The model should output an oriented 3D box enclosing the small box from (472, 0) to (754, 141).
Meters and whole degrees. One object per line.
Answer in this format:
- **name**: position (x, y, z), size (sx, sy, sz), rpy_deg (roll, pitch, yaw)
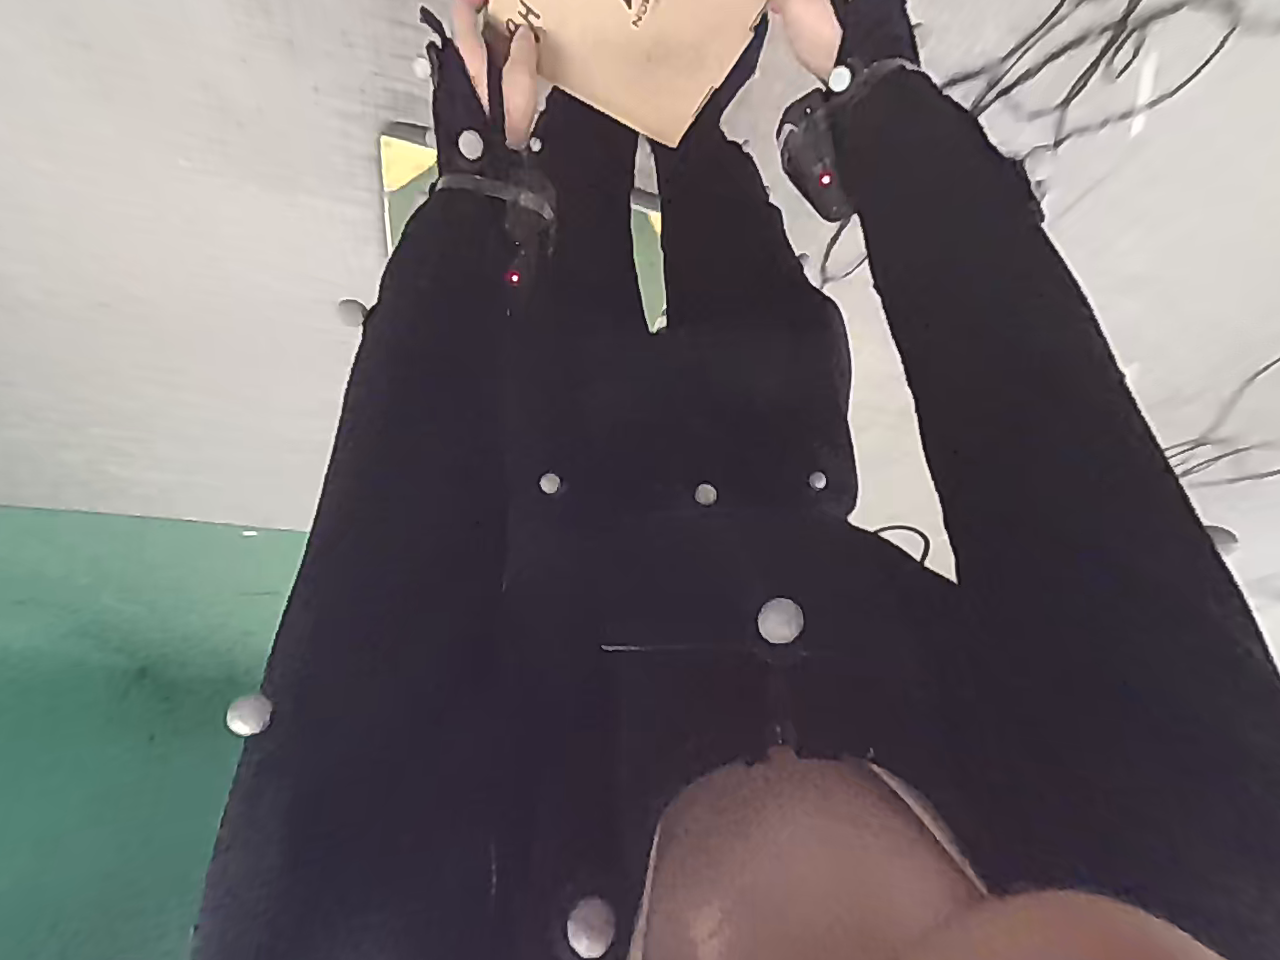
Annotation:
- **small box**: position (-0.015, -0.417, 0.410), size (0.179, 0.176, 0.168), rpy_deg (11, 151, -27)
